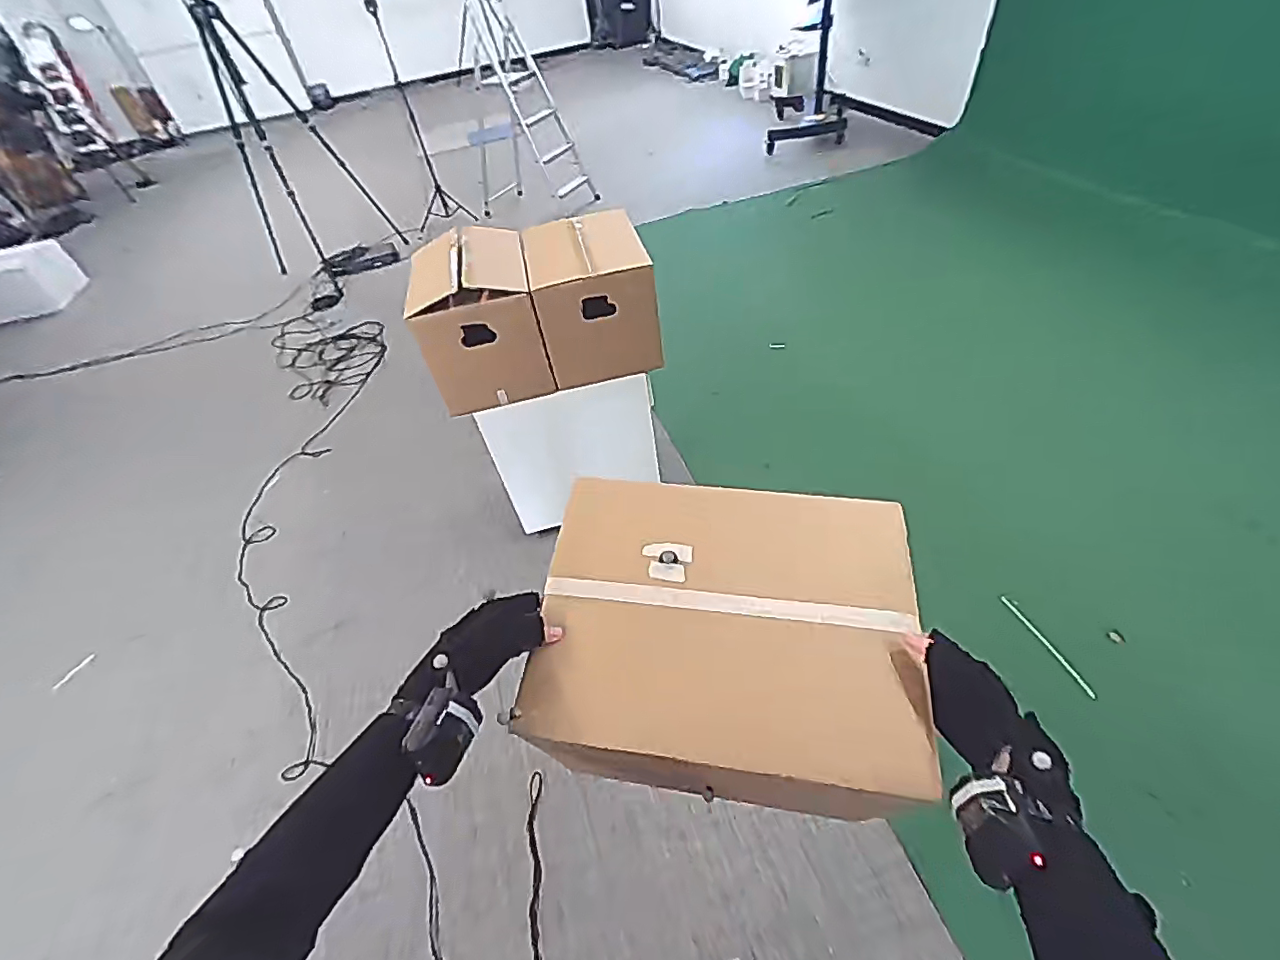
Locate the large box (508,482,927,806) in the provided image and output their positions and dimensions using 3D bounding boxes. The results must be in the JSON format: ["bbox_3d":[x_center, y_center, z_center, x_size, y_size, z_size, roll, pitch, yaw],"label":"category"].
[{"bbox_3d":[0.099,0.221,0.714,0.408,0.320,0.320,4,55,10],"label":"large box"}]
